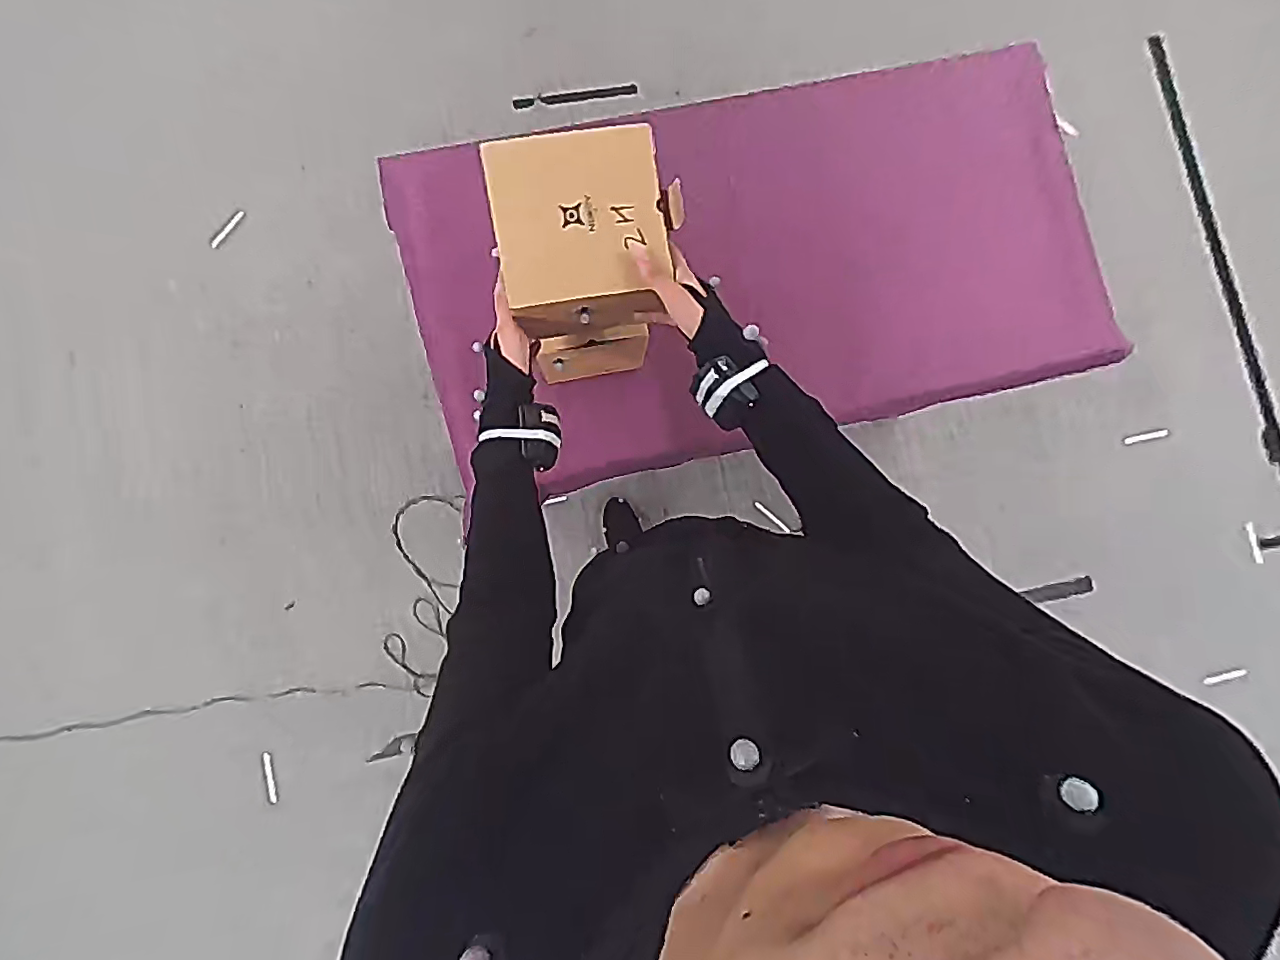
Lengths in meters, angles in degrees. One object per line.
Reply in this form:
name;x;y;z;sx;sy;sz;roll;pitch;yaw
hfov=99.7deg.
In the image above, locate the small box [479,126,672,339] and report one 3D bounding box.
small box;-0.070;-0.271;0.631;0.179;0.176;0.168;-11;94;-5
